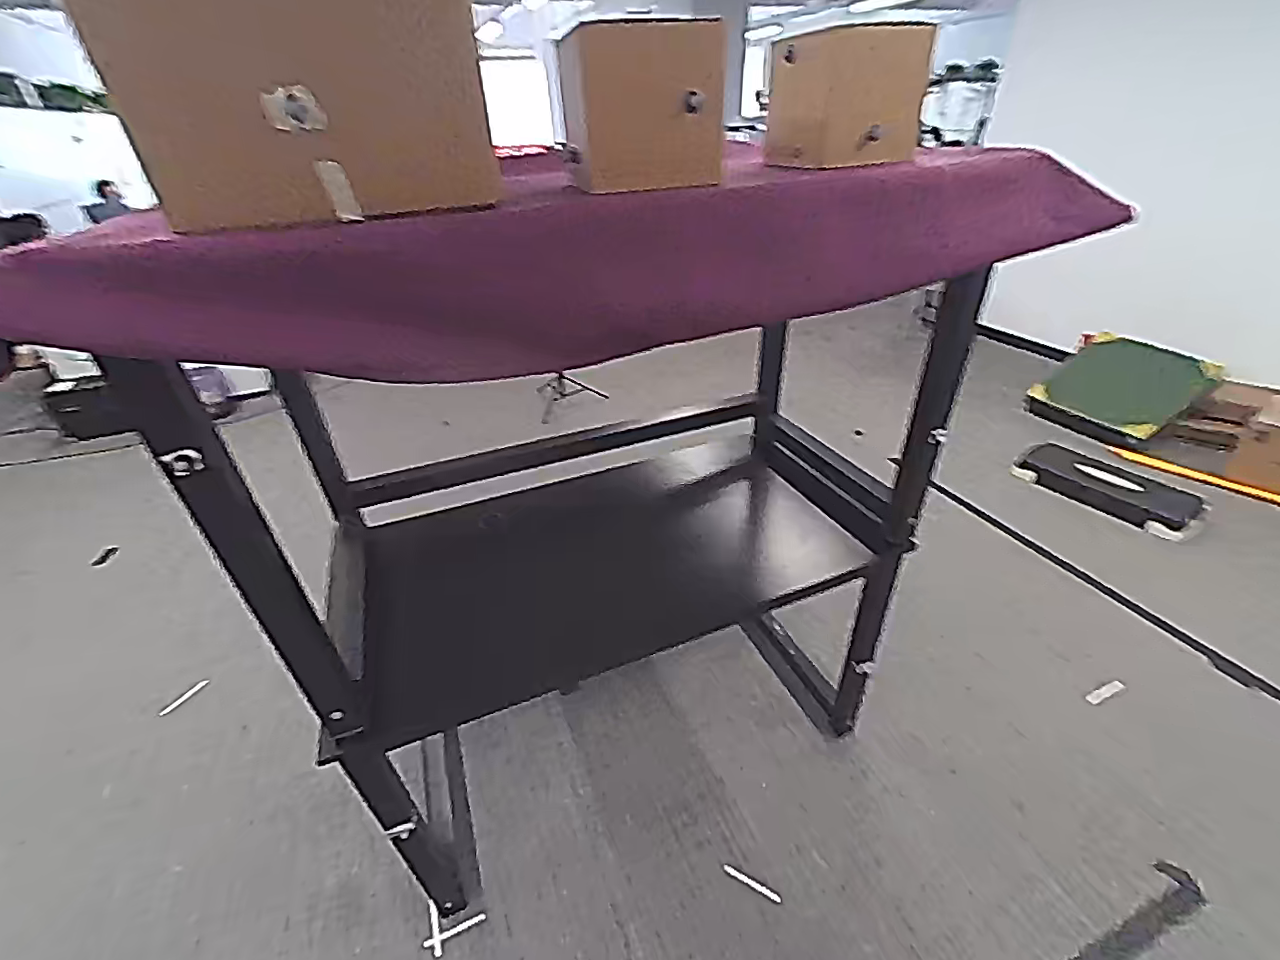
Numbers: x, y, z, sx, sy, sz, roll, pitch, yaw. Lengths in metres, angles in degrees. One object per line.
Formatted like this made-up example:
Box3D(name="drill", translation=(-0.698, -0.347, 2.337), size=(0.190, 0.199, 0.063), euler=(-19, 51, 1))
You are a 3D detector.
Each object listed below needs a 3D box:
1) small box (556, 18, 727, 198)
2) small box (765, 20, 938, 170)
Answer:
Box3D(name="small box", translation=(-0.002, -0.473, 0.698), size=(0.179, 0.176, 0.168), euler=(-12, 34, -12))
Box3D(name="small box", translation=(0.309, -0.581, 0.828), size=(0.179, 0.176, 0.168), euler=(-14, 34, -16))
